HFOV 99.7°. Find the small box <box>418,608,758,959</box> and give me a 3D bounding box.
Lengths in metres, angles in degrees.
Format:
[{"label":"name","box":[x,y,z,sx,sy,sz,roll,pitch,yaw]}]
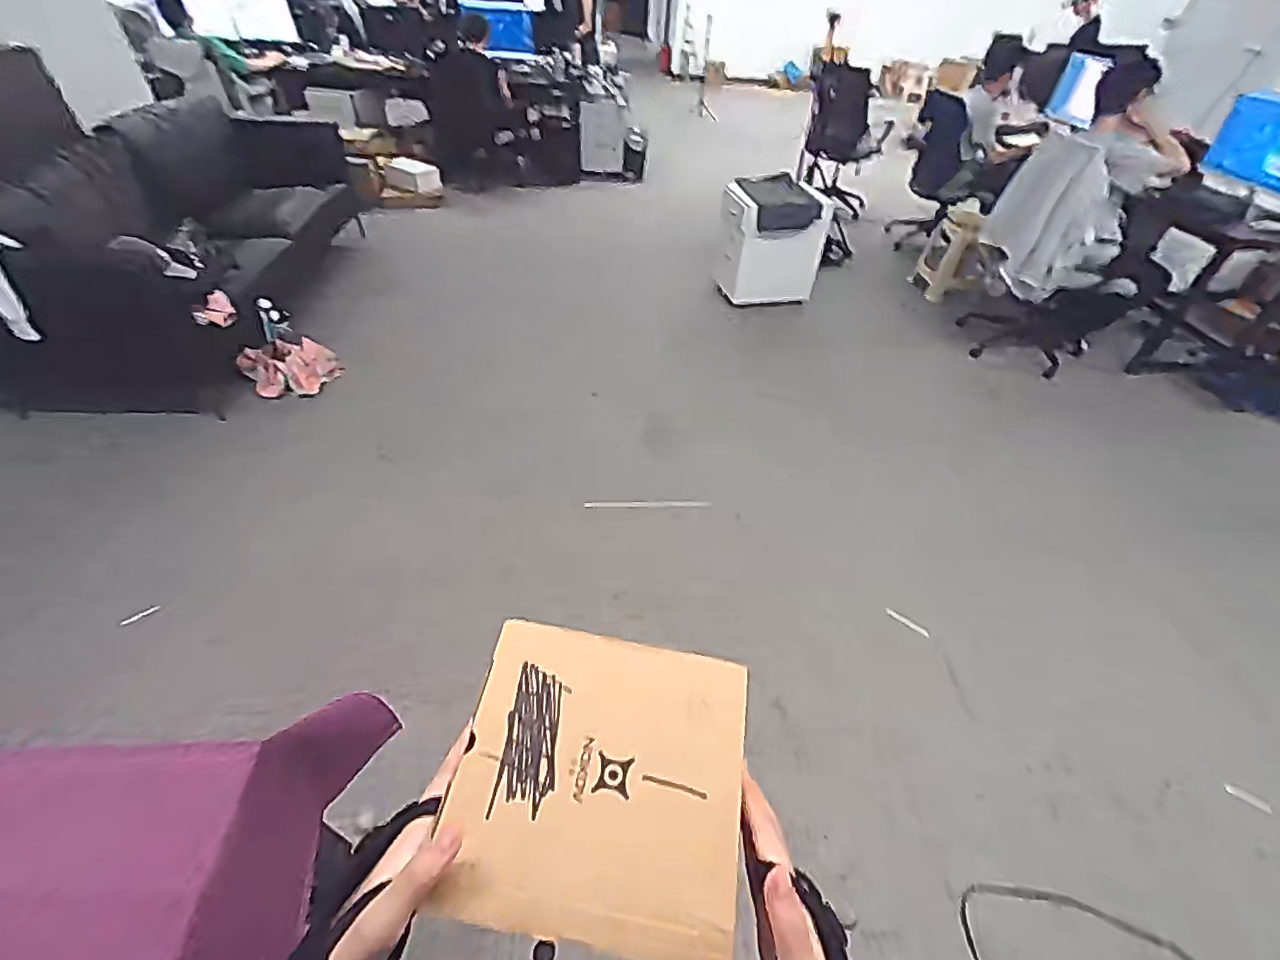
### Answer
[{"label":"small box","box":[-0.025,0.217,0.390,0.179,0.176,0.168,12,53,2]}]
